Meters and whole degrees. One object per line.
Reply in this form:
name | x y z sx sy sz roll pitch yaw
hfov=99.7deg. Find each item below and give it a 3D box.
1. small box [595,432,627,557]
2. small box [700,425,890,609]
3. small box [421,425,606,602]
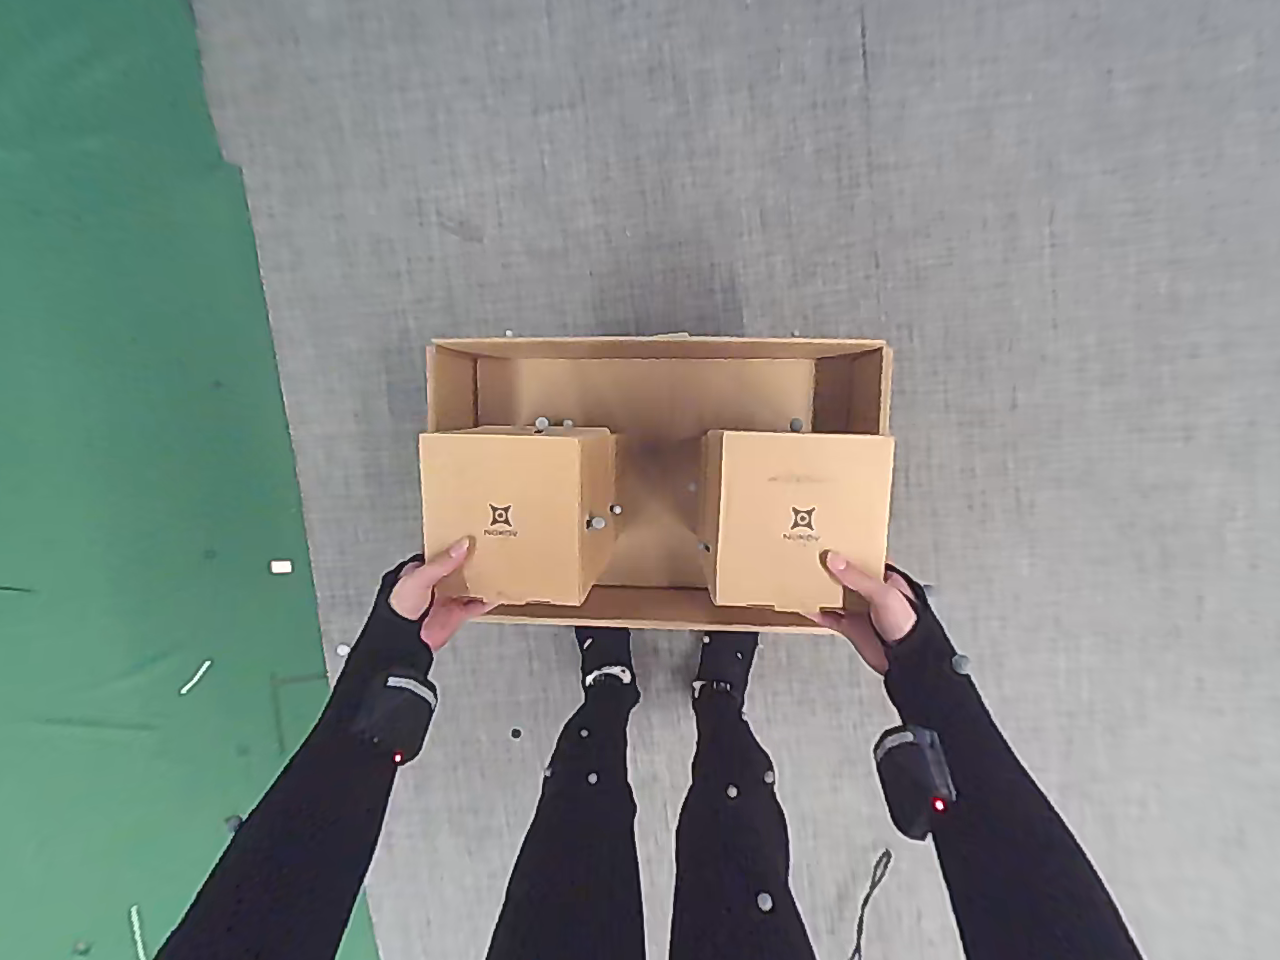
small box | -0.119 0.009 0.796 0.179 0.176 0.168 4 96 4
small box | 0.158 0.030 0.606 0.168 0.176 0.179 3 95 2
small box | -0.134 0.026 0.628 0.168 0.176 0.179 1 99 6
